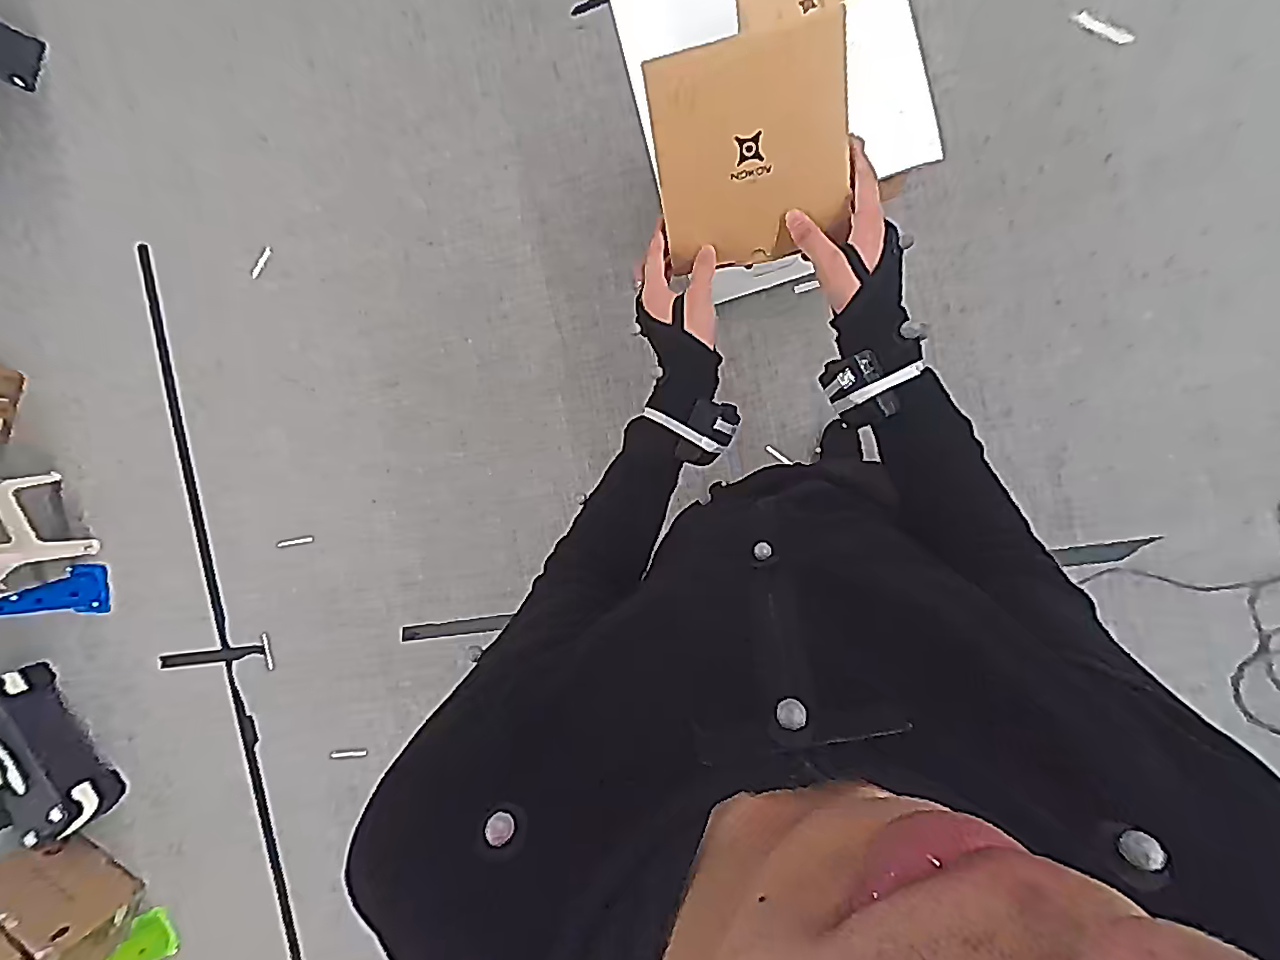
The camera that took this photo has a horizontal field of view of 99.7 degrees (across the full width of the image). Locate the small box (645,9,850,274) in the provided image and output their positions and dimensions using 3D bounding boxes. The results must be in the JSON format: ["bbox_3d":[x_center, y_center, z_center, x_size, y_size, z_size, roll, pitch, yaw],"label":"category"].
[{"bbox_3d":[0.110,-0.318,0.545,0.168,0.176,0.179,-5,115,14],"label":"small box"}]
